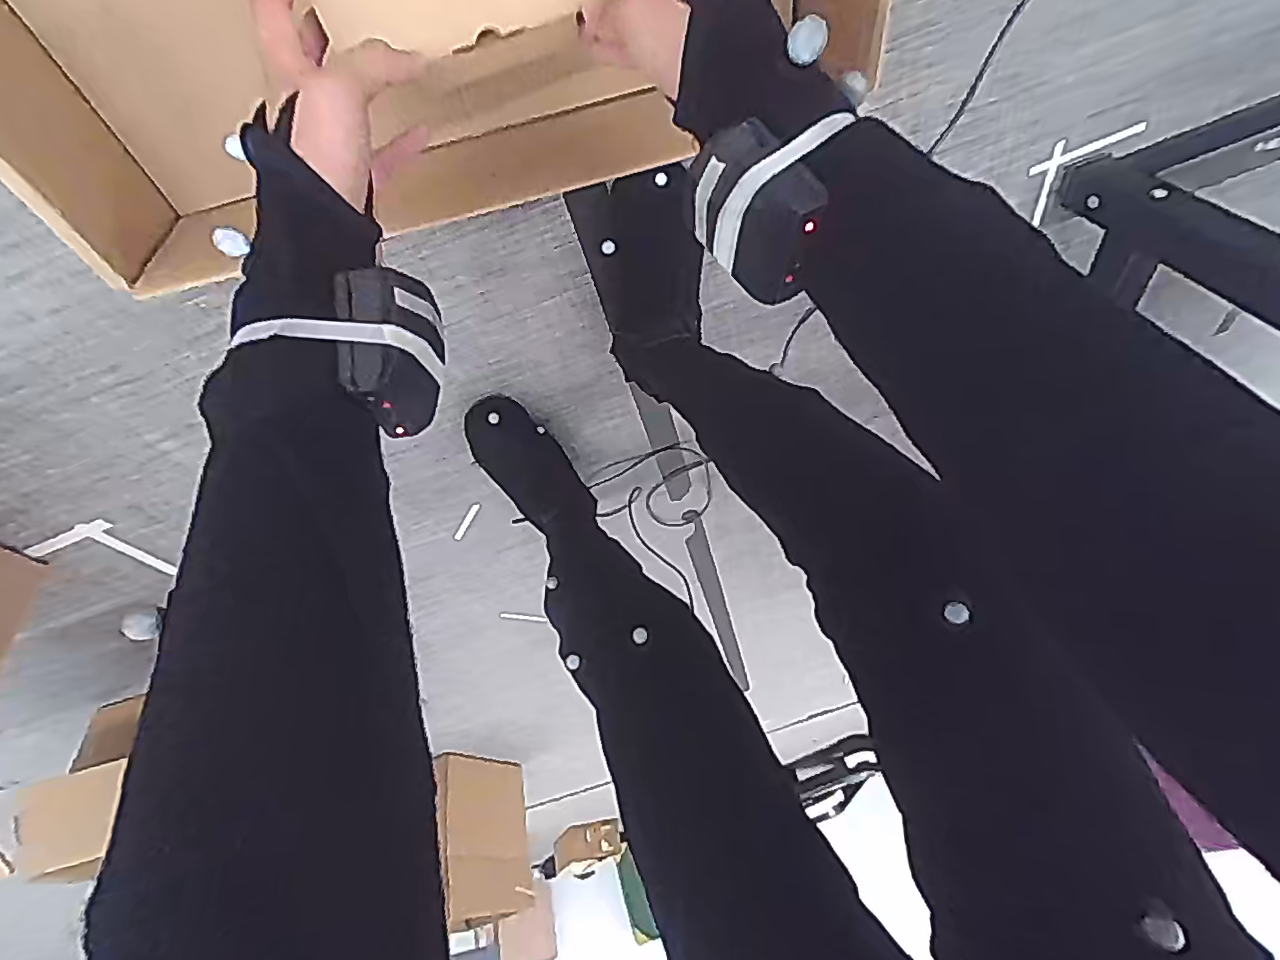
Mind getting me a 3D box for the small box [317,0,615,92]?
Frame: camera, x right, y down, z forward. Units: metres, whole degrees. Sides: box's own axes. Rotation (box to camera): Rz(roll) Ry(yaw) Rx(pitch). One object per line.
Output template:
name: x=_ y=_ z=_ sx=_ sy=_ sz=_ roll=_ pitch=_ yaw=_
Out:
small box: x=-0.123 y=-0.369 z=0.322 sx=0.168 sy=0.176 sz=0.179 roll=-17 pitch=134 yaw=0
